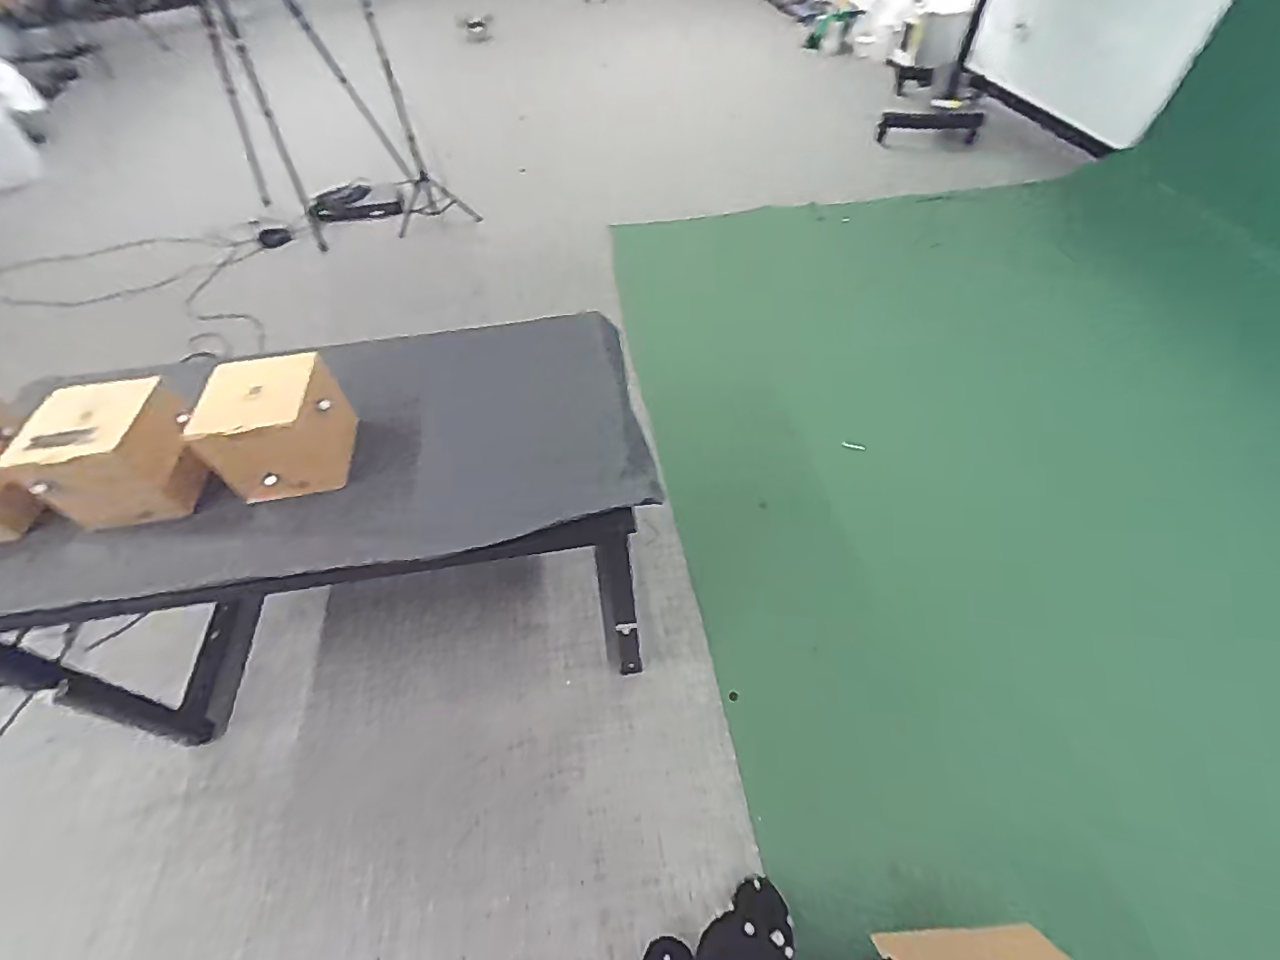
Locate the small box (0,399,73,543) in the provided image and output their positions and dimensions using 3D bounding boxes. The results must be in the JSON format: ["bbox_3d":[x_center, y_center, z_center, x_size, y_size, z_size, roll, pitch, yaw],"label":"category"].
[{"bbox_3d":[-1.116,-0.010,0.890,0.168,0.176,0.179,-6,50,-3],"label":"small box"}]

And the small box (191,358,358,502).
[{"bbox_3d":[-0.615,-0.086,0.942,0.168,0.176,0.179,-9,52,-5],"label":"small box"}]
